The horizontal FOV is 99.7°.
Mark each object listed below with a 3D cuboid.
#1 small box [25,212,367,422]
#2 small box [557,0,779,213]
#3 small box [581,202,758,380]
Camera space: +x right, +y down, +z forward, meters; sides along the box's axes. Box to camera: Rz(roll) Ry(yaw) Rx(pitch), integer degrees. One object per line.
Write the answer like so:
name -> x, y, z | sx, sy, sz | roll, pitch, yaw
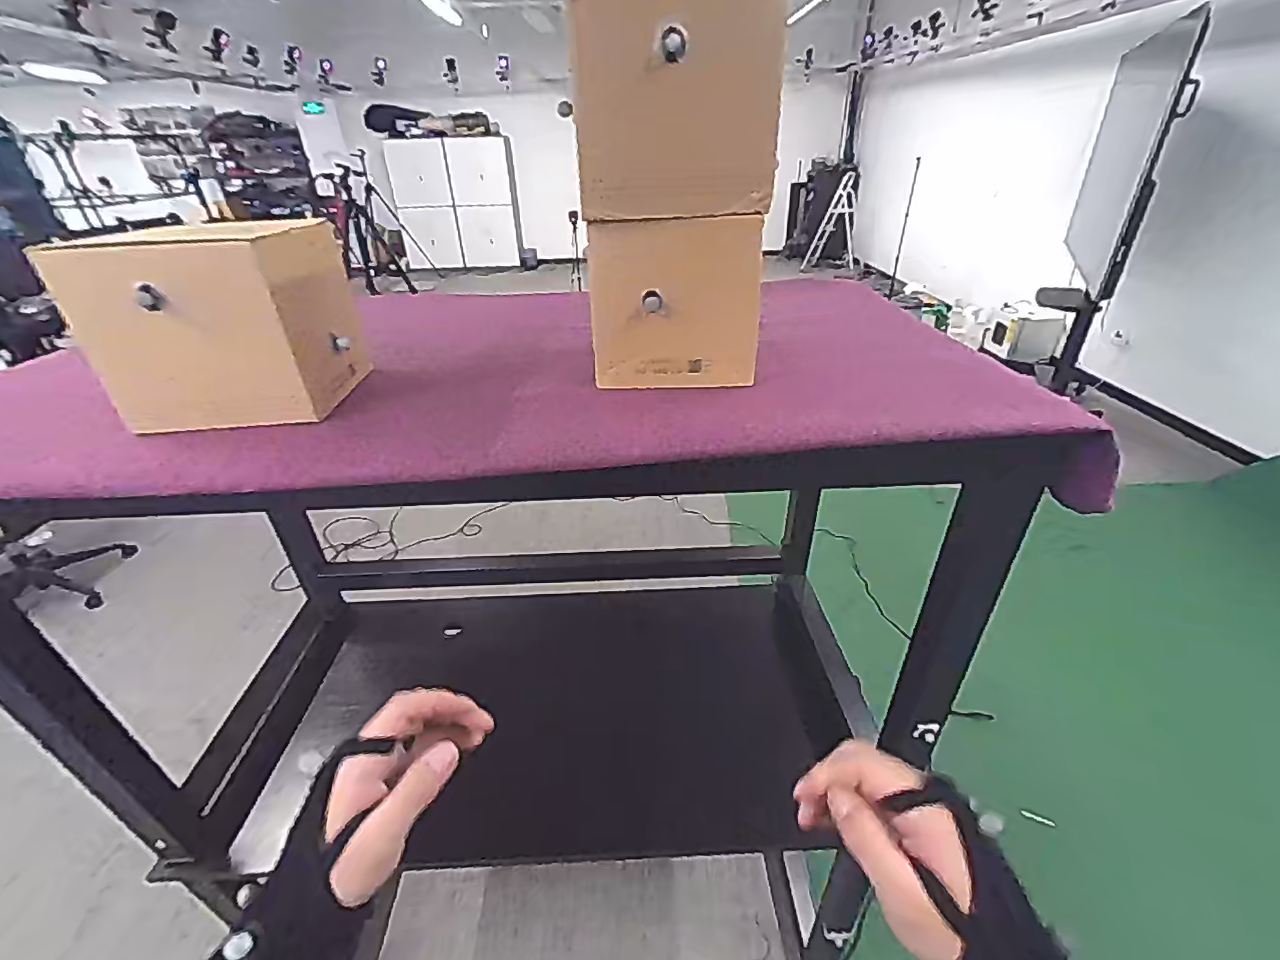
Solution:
small box -> -0.408, -0.165, 0.541 | 0.179, 0.176, 0.168 | -4, 32, -4
small box -> 0.025, -0.350, 0.507 | 0.179, 0.176, 0.168 | -2, 31, 0
small box -> 0.034, -0.215, 0.599 | 0.168, 0.176, 0.179 | -1, 31, 3
